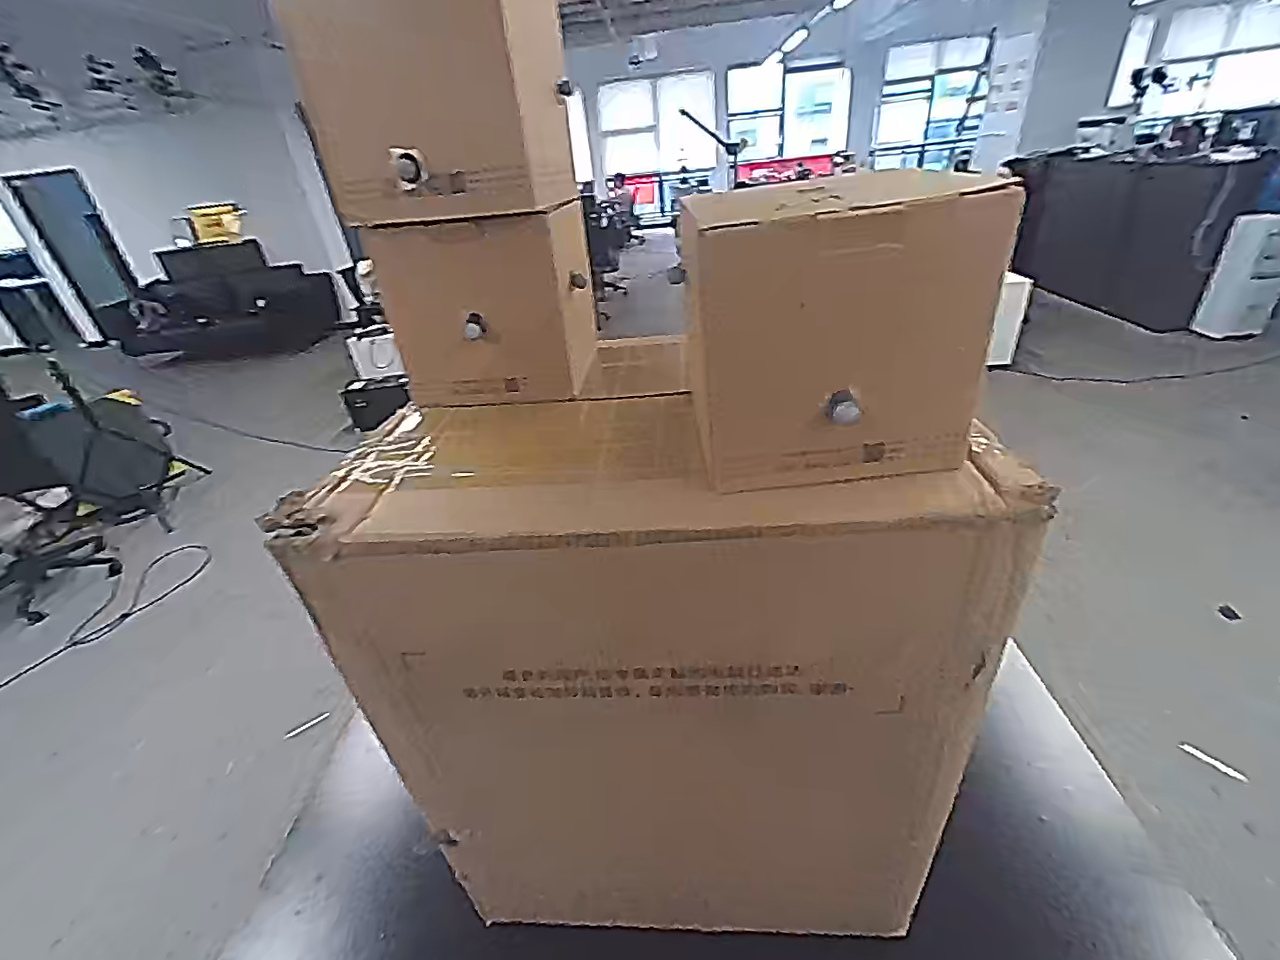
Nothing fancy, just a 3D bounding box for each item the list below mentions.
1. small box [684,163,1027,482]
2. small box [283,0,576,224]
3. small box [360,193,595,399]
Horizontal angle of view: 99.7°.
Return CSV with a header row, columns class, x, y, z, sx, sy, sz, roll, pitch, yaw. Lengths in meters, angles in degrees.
class,x,y,z,sx,sy,sz,roll,pitch,yaw
small box,0.121,-0.117,0.384,0.168,0.176,0.179,-6,32,4
small box,-0.156,-0.320,0.460,0.168,0.176,0.179,-3,31,7
small box,-0.144,-0.188,0.557,0.168,0.176,0.179,-2,31,5
